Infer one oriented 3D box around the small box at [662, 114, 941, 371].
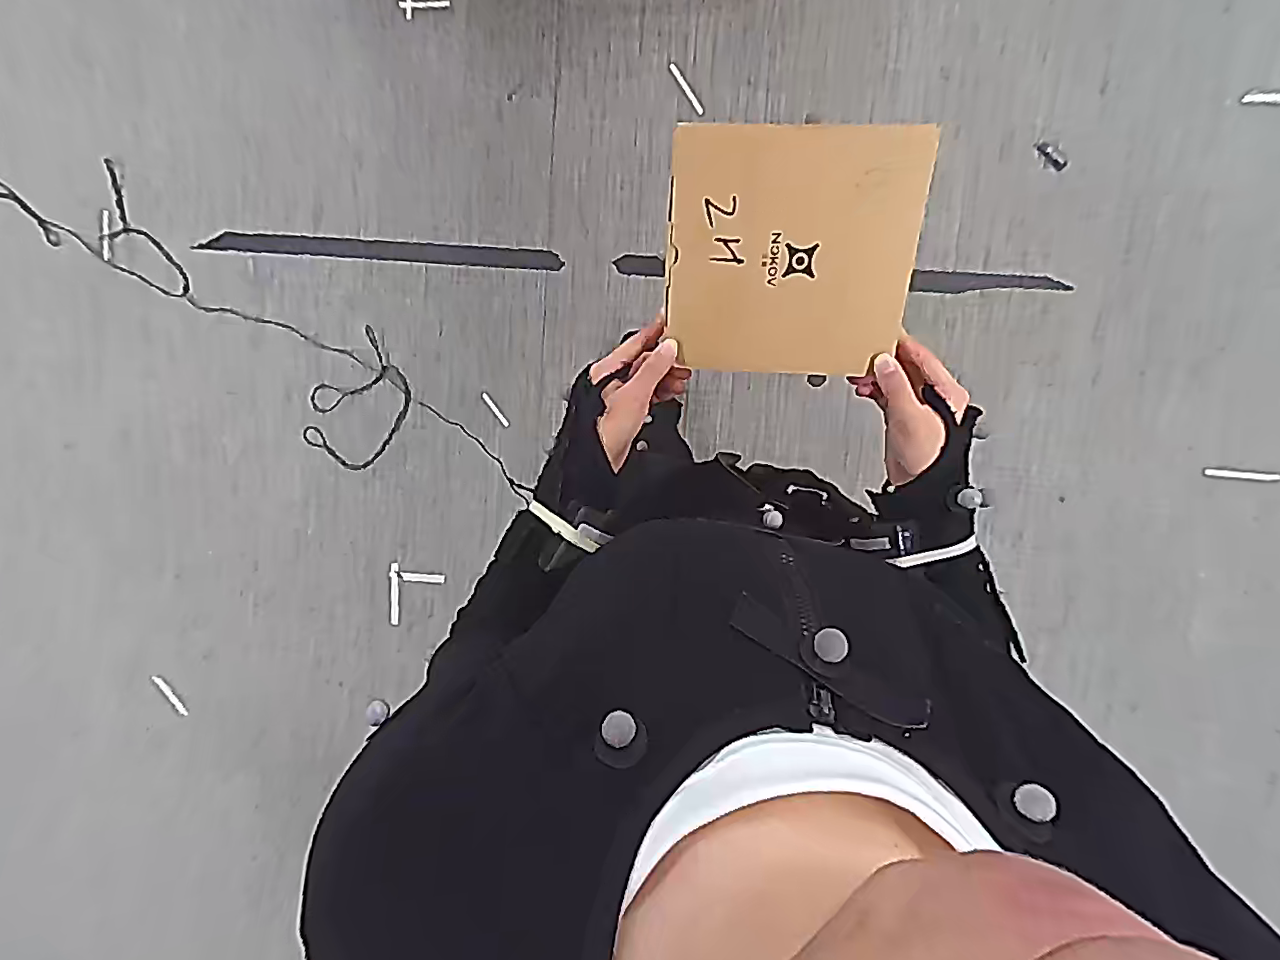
[{"bbox_3d":[0.116,-0.195,0.461,0.179,0.176,0.168,5,113,6],"label":"small box"}]
